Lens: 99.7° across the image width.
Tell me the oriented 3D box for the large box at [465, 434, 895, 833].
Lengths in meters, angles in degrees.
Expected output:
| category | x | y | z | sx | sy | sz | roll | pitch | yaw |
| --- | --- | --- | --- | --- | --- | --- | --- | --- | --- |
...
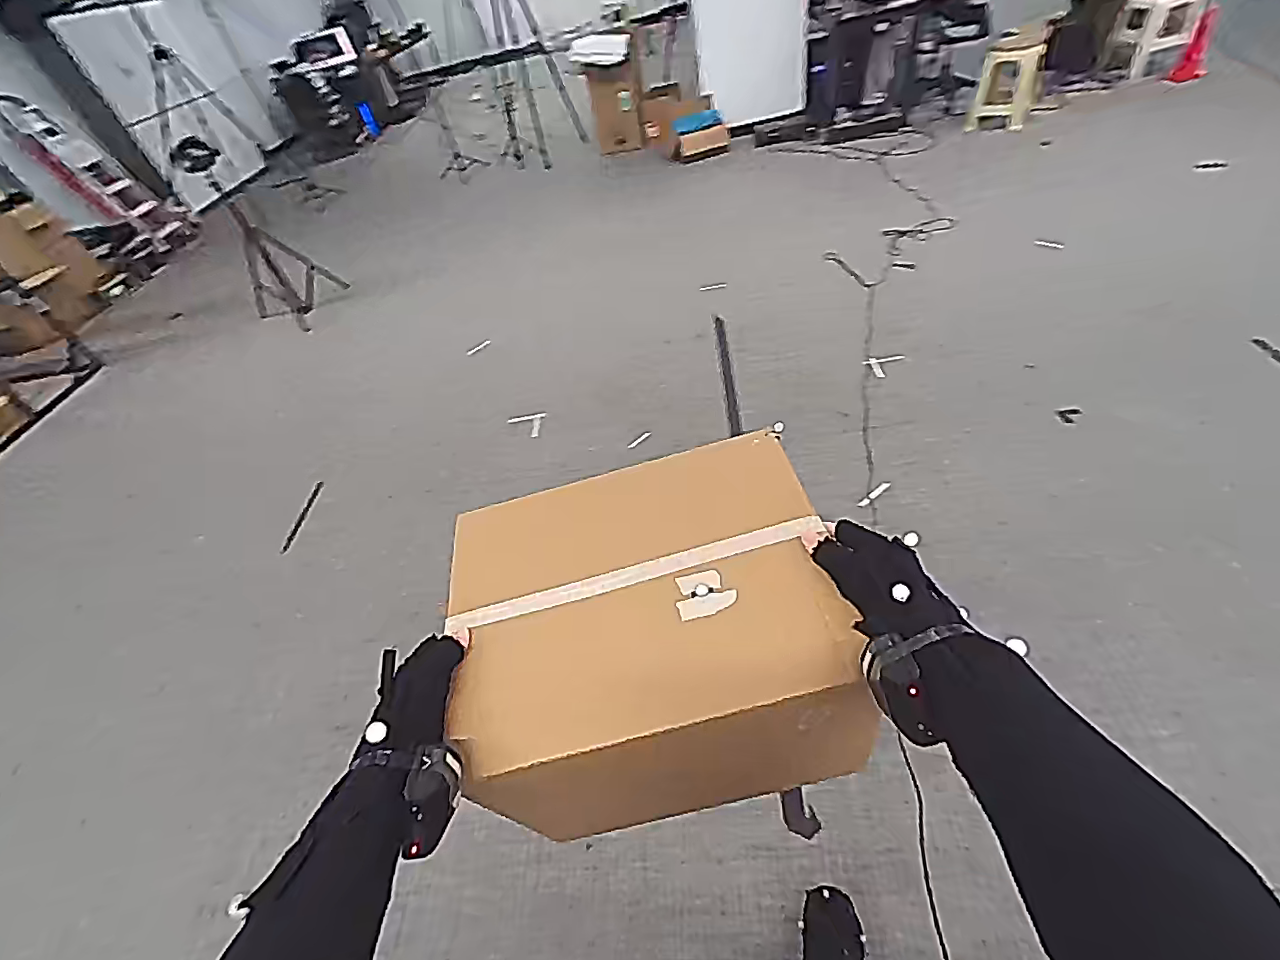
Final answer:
| category | x | y | z | sx | sy | sz | roll | pitch | yaw |
| --- | --- | --- | --- | --- | --- | --- | --- | --- | --- |
| large box | 0.039 | 0.199 | 0.683 | 0.408 | 0.320 | 0.320 | -15 | 47 | 3 |
